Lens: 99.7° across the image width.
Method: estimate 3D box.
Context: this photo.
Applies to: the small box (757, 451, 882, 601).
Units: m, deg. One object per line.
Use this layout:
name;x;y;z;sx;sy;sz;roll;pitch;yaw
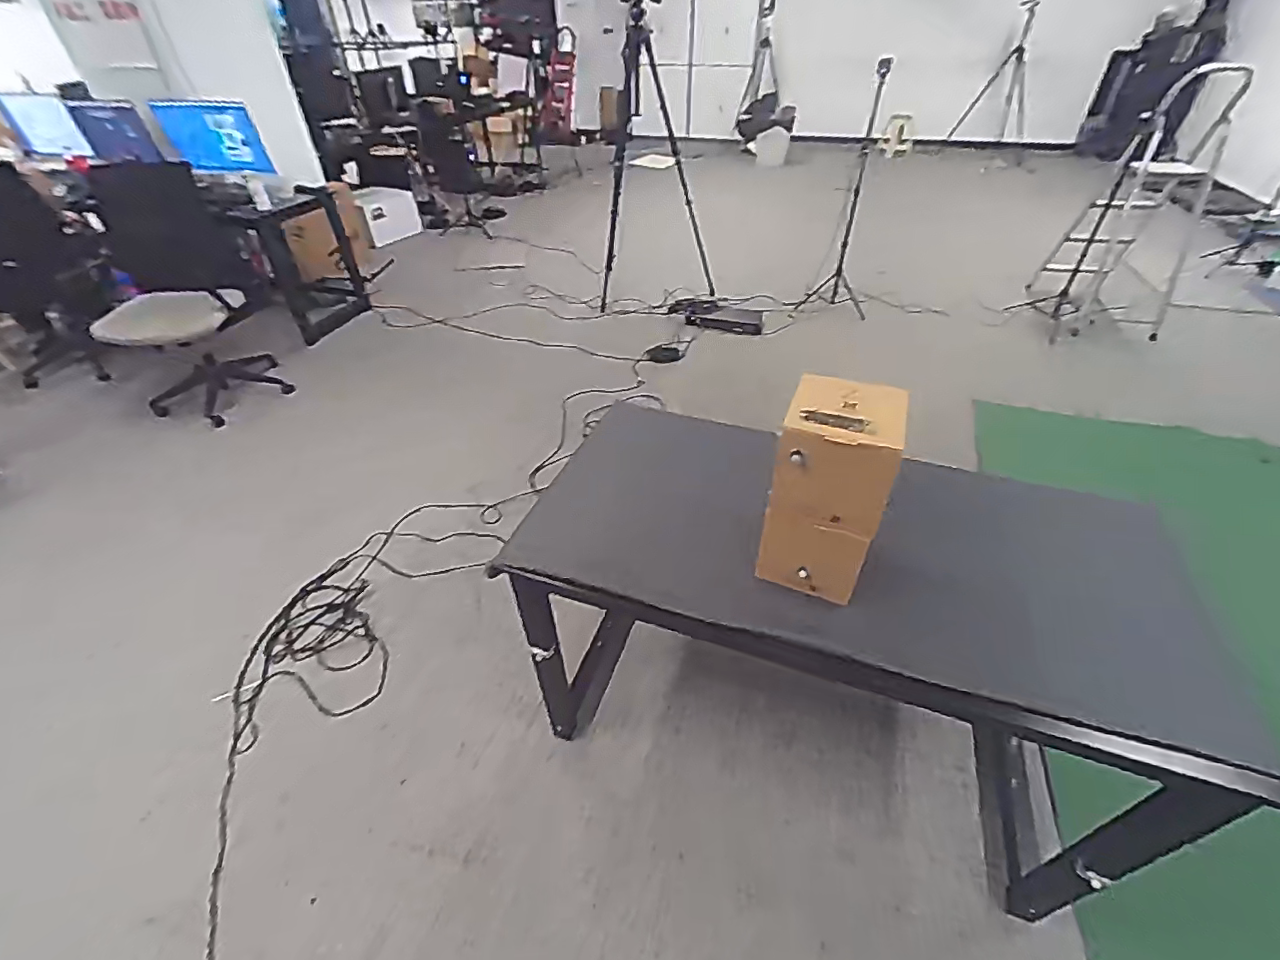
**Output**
small box;0.314;0.079;0.961;0.168;0.176;0.179;16;42;20
